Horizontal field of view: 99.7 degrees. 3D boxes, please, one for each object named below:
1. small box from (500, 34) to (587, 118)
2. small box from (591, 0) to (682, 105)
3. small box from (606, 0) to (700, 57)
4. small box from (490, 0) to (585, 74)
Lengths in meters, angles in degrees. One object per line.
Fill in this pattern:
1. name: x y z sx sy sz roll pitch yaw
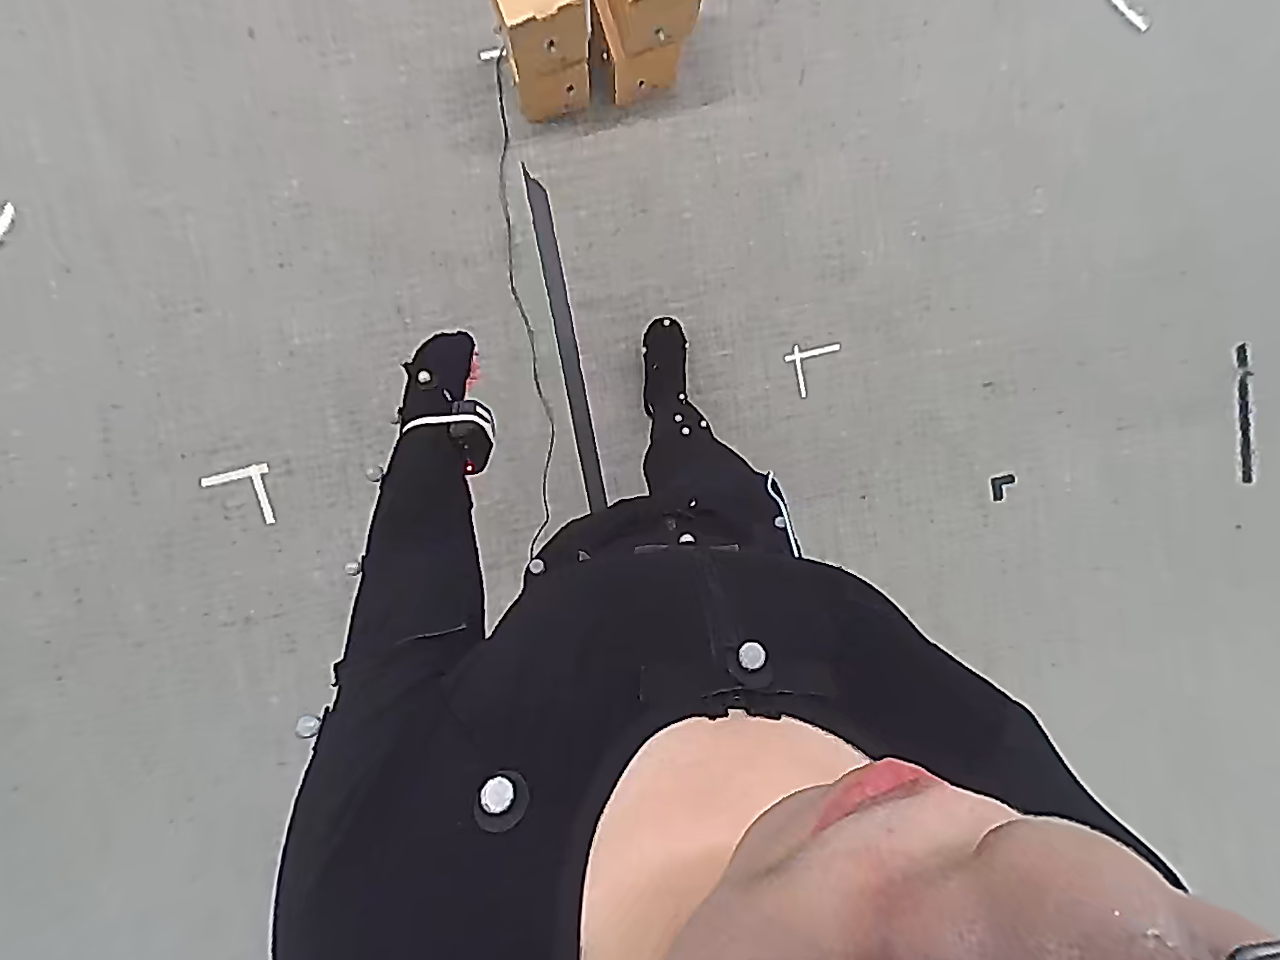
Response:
1. small box: -0.226 -0.990 1.272 0.168 0.176 0.179 -17 96 -2
2. small box: -0.015 -1.041 1.278 0.168 0.176 0.179 -20 97 -1
3. small box: 0.018 -1.036 1.115 0.168 0.176 0.179 -19 98 -1
4. small box: -0.217 -0.979 1.108 0.168 0.176 0.179 -20 97 -1
